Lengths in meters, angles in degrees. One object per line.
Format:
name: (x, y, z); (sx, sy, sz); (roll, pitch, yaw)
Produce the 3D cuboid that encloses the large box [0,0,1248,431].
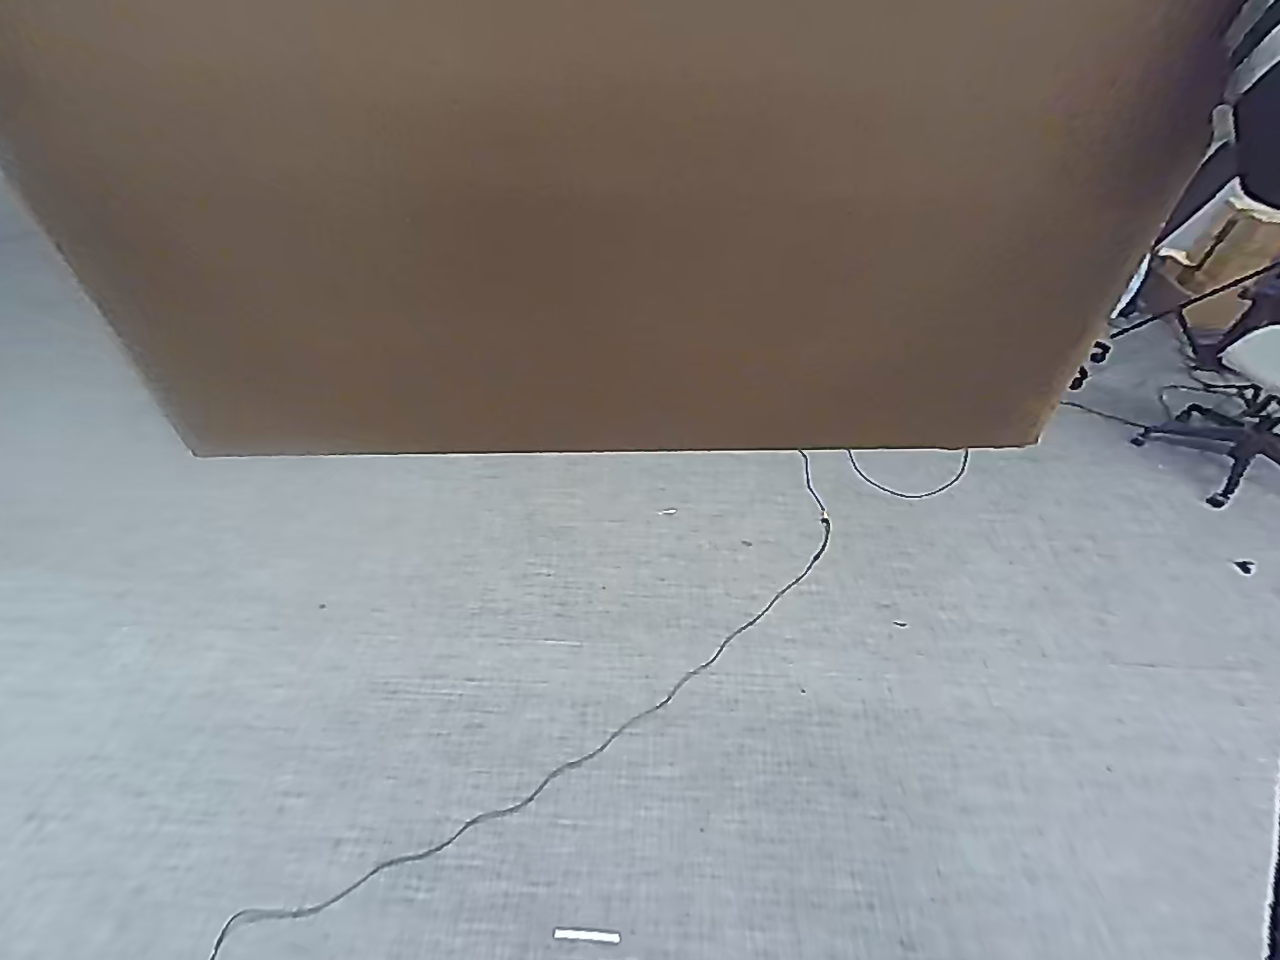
large box: (-0.012, -0.234, 0.280); (0.408, 0.320, 0.320); (0, 41, -1)
